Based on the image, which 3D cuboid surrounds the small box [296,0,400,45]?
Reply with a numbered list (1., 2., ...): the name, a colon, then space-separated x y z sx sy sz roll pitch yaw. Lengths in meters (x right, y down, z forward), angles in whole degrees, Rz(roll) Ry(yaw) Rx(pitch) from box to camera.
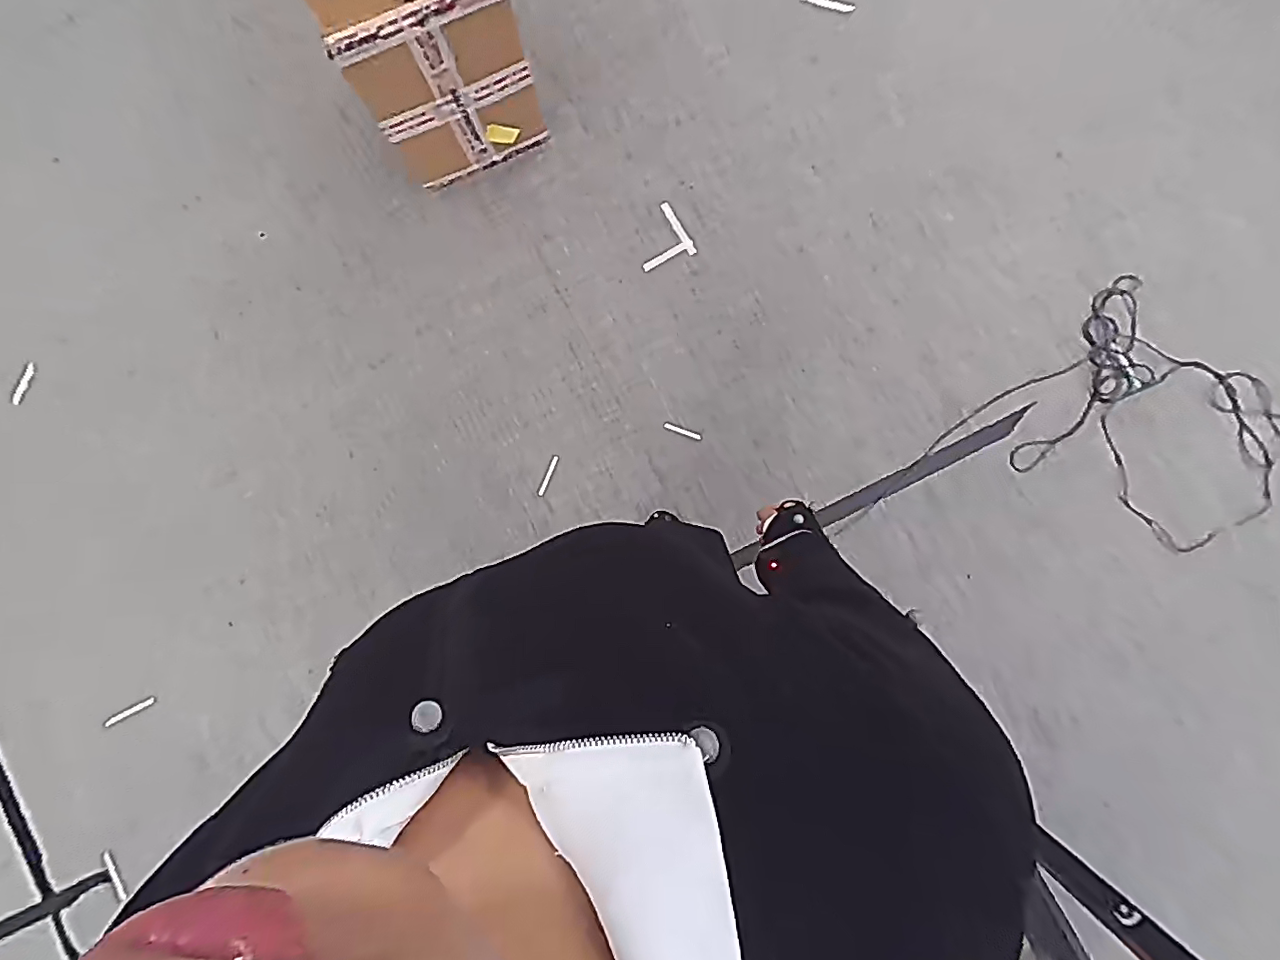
1. small box: -0.592 -1.006 1.045 0.179 0.176 0.168 -20 88 2
